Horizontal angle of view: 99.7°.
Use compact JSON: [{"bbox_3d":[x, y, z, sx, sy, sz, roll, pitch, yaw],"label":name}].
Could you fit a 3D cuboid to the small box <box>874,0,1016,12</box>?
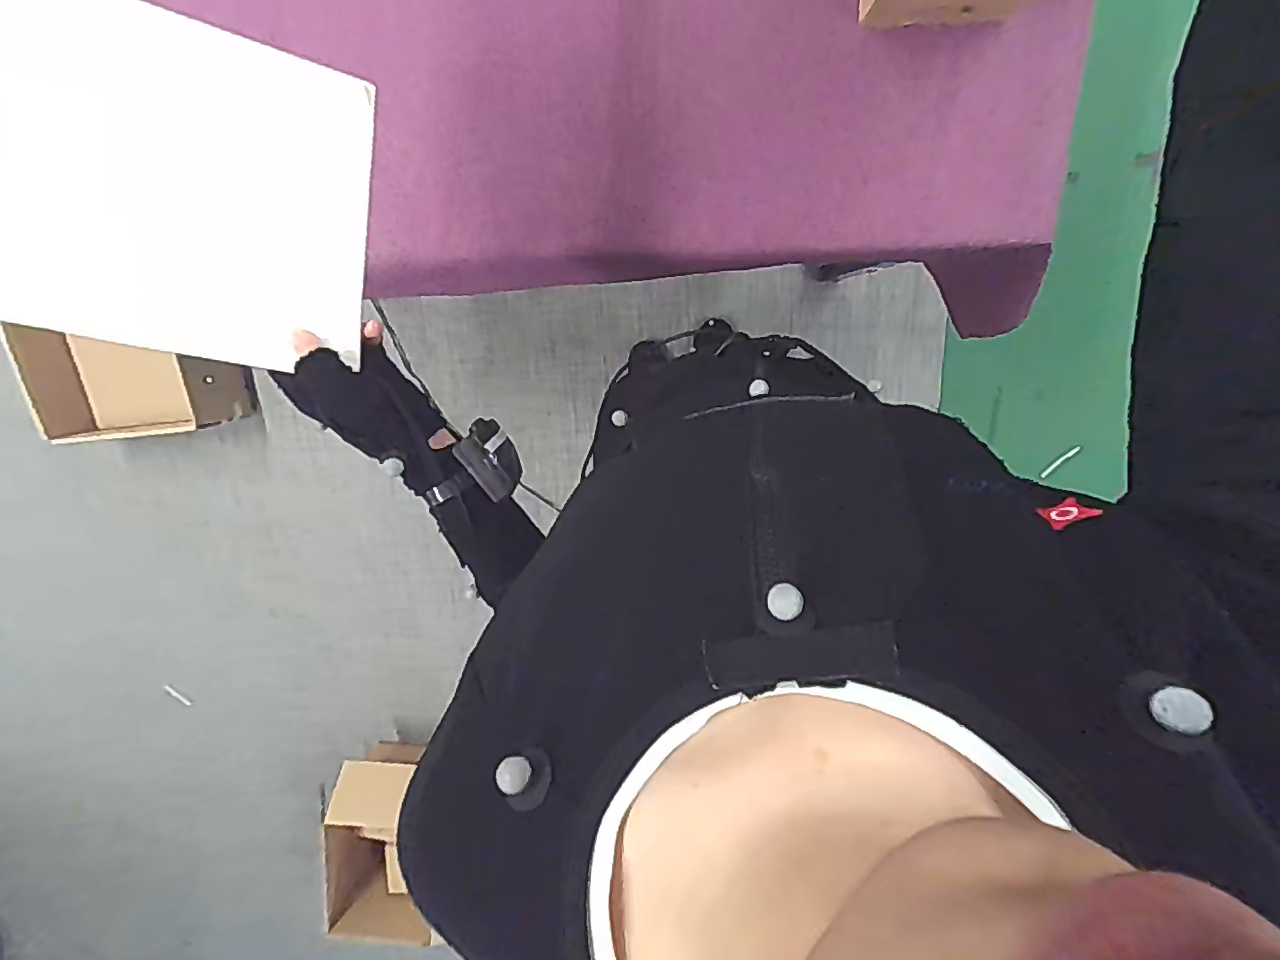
[{"bbox_3d":[0.317,-0.564,0.488,0.168,0.176,0.179,-1,105,1],"label":"small box"}]
